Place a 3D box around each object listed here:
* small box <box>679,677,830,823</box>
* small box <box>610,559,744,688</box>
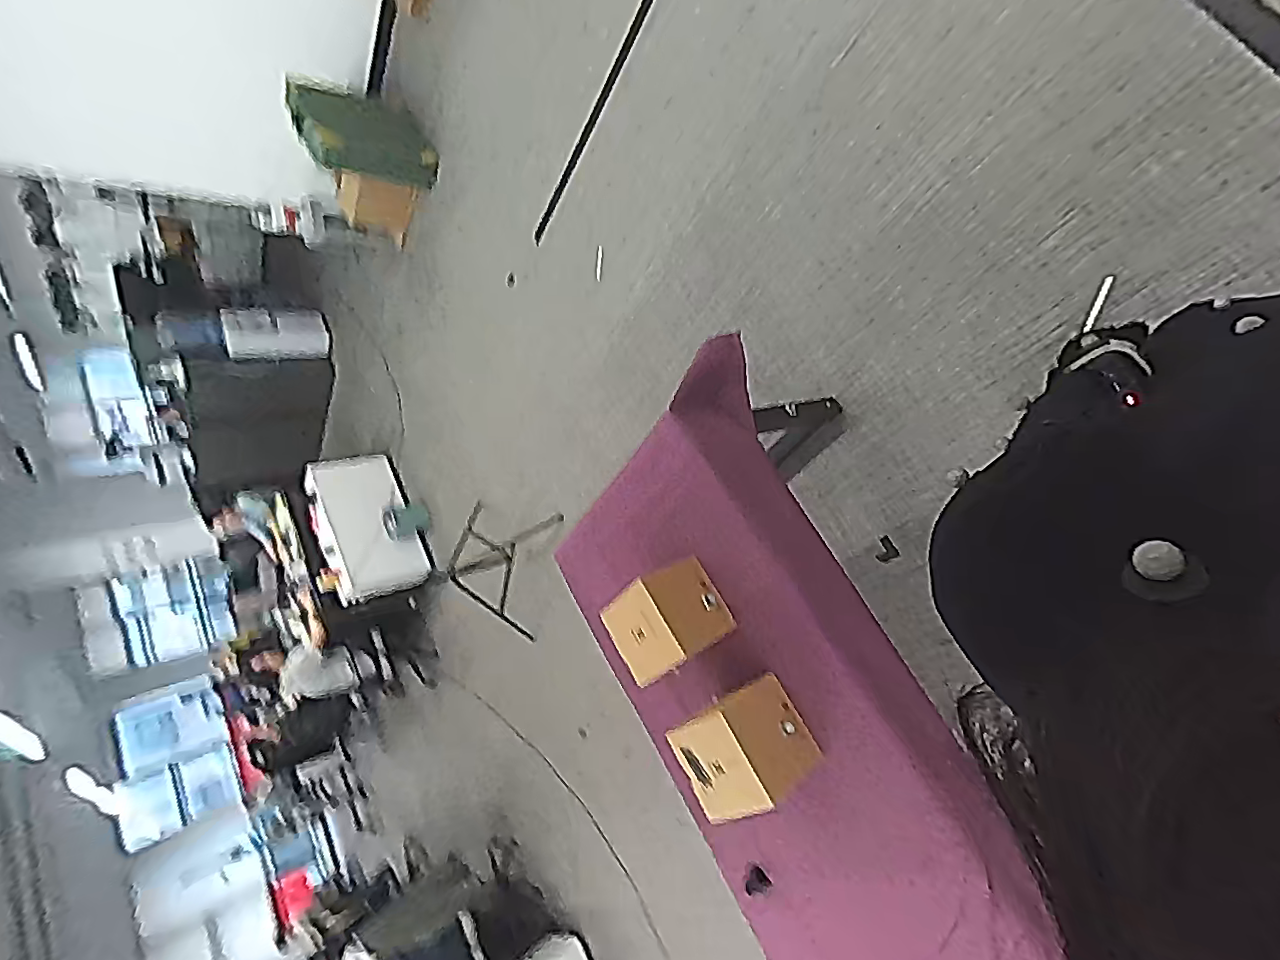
[{"bbox_3d":[0.211,0.493,0.996,0.168,0.176,0.179,59,135,19],"label":"small box"},{"bbox_3d":[0.075,0.286,1.094,0.168,0.176,0.179,56,134,20],"label":"small box"}]
